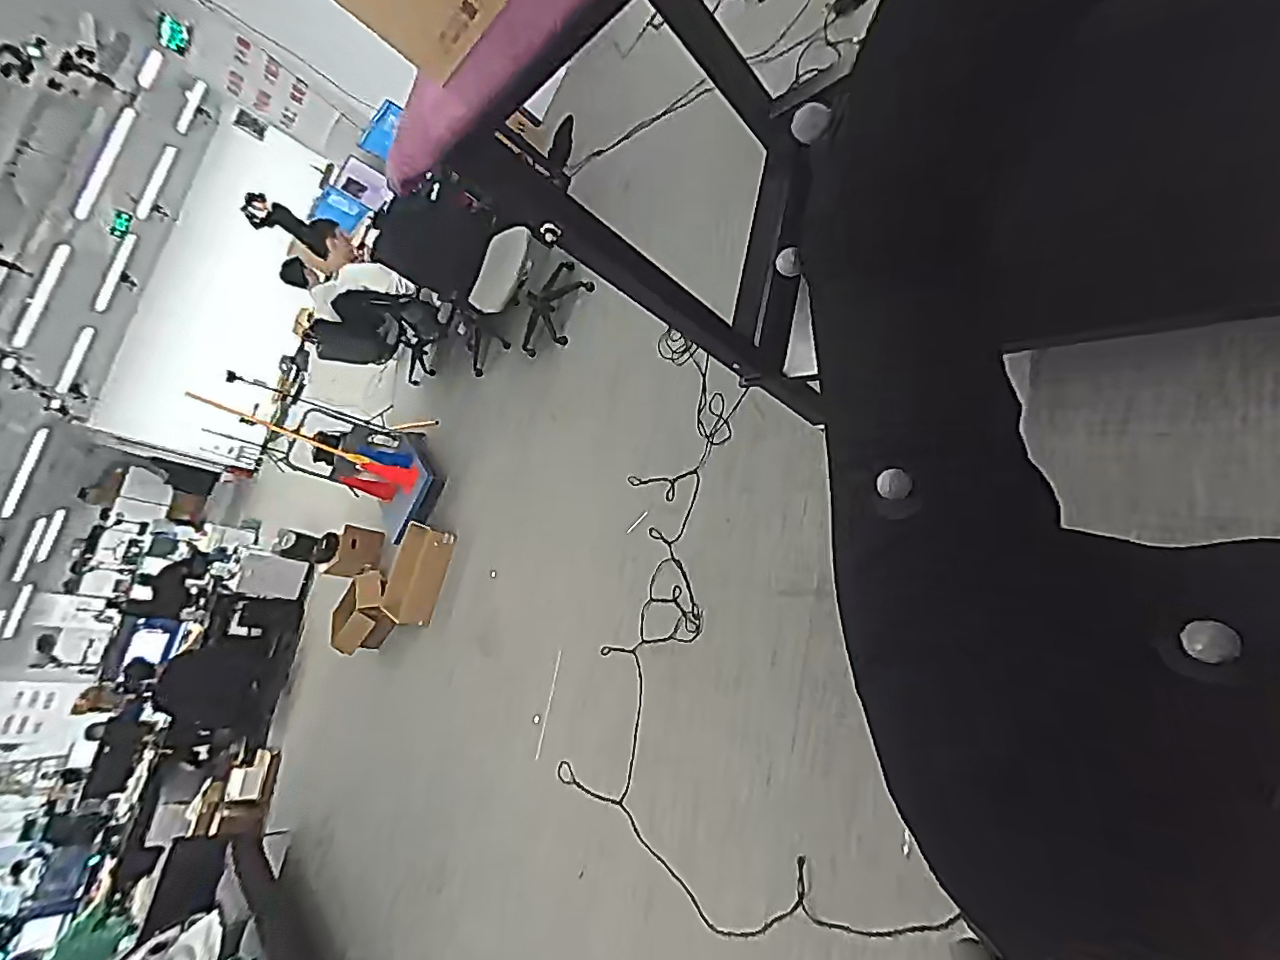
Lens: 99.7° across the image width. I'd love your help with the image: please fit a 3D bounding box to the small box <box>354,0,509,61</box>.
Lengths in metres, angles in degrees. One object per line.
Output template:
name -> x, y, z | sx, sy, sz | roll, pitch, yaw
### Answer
small box -> -0.193, -0.534, 0.488 | 0.168, 0.176, 0.179 | -2, 72, 45
